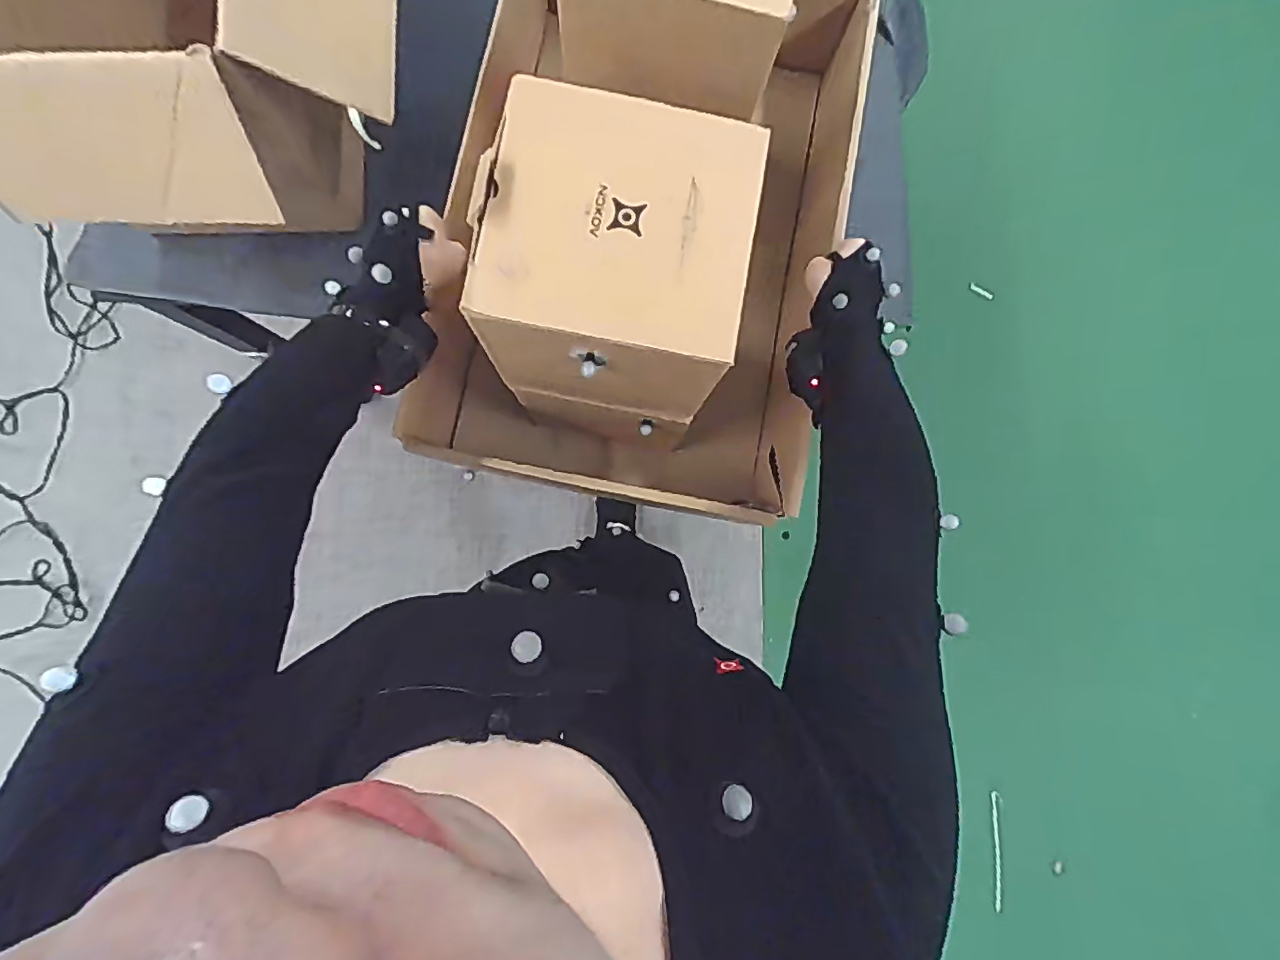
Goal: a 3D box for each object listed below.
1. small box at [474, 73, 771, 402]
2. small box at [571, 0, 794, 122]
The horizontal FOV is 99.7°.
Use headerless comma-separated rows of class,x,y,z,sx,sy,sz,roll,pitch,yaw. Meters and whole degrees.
small box,-0.015,-0.170,0.437,0.179,0.176,0.168,10,85,-5
small box,0.037,-0.416,0.456,0.168,0.176,0.179,12,88,-3
